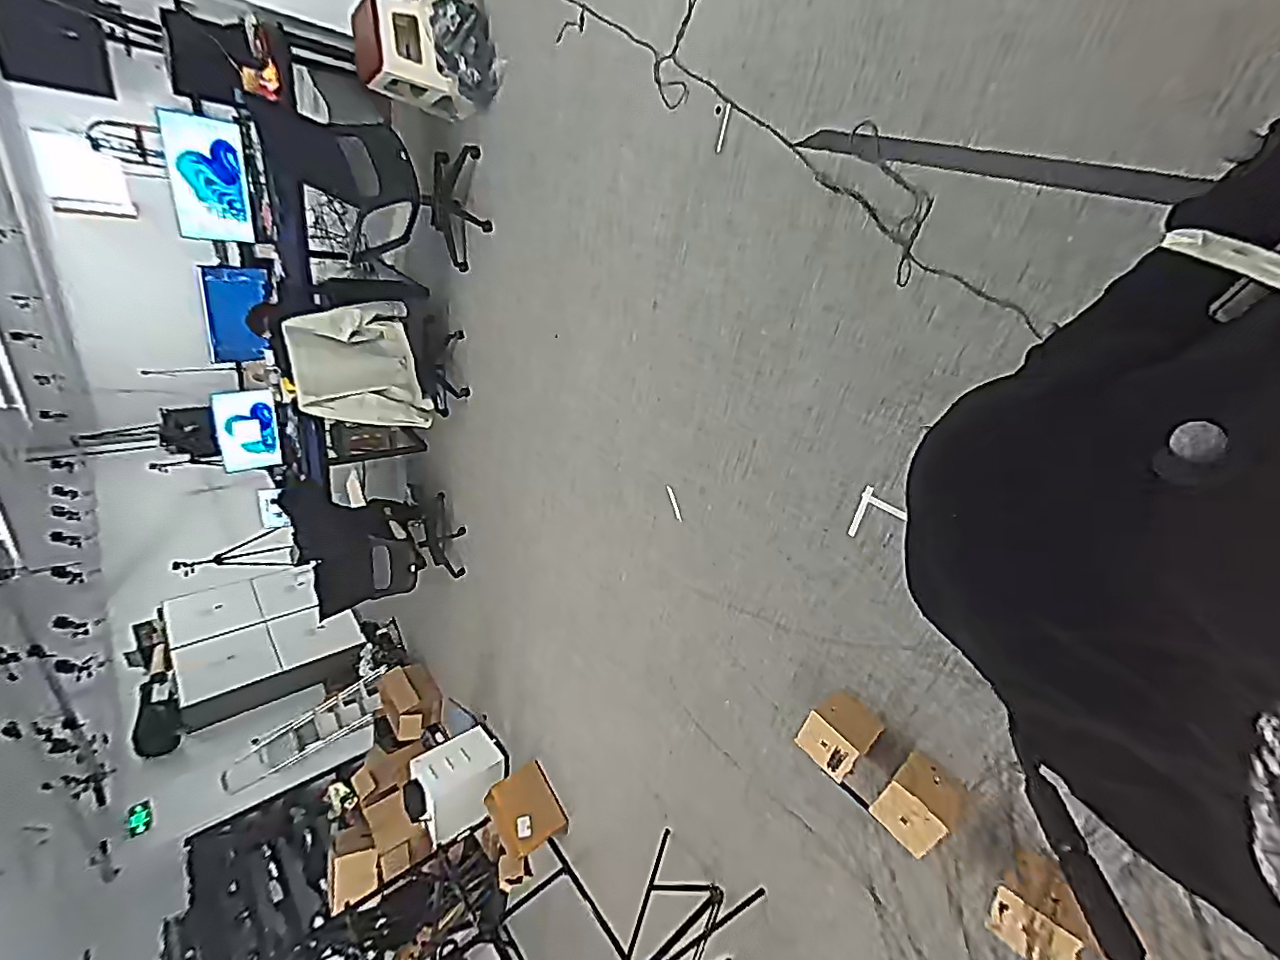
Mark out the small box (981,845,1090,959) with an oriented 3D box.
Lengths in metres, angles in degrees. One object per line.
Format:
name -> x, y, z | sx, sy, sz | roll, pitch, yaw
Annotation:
small box -> 1.021, 1.100, 1.393 | 0.179, 0.176, 0.168 | 23, 117, 42

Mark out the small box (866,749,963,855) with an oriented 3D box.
small box -> 0.807, 0.937, 1.583 | 0.168, 0.176, 0.179 | 39, 128, 34
